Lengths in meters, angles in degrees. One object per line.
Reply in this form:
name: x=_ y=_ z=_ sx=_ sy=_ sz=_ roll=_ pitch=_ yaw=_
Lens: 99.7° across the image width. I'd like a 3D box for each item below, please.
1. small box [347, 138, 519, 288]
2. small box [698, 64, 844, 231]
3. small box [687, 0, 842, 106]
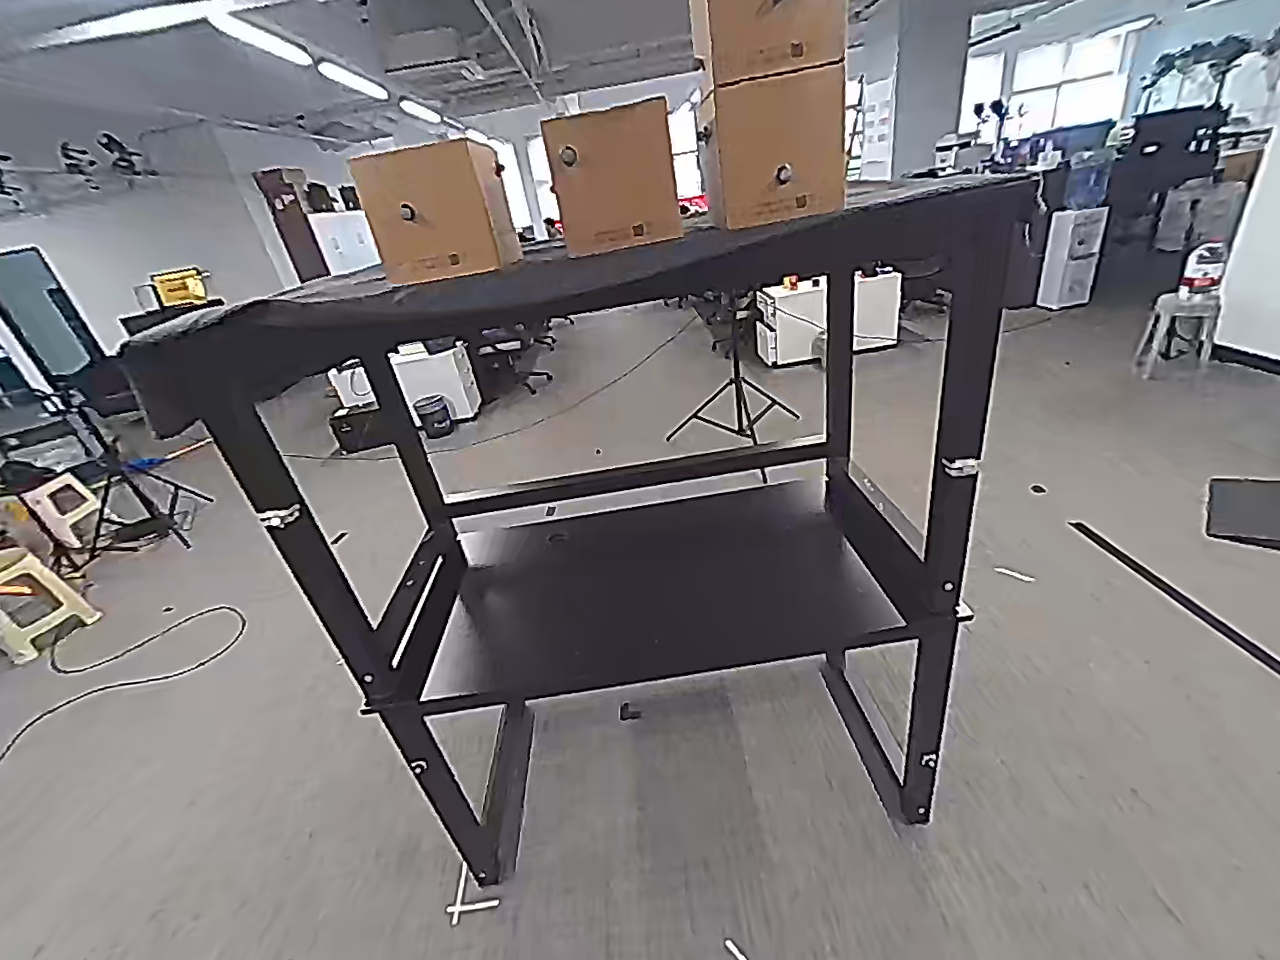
small box: x=-0.293 y=-0.393 z=0.812 sx=0.168 sy=0.176 sz=0.179 roll=-8 pitch=26 yaw=4
small box: x=0.182 y=-0.463 z=0.778 sx=0.168 sy=0.176 sz=0.179 roll=-10 pitch=27 yaw=3
small box: x=0.156 y=-0.607 z=0.704 sx=0.168 sy=0.176 sz=0.179 roll=-9 pitch=28 yaw=3
